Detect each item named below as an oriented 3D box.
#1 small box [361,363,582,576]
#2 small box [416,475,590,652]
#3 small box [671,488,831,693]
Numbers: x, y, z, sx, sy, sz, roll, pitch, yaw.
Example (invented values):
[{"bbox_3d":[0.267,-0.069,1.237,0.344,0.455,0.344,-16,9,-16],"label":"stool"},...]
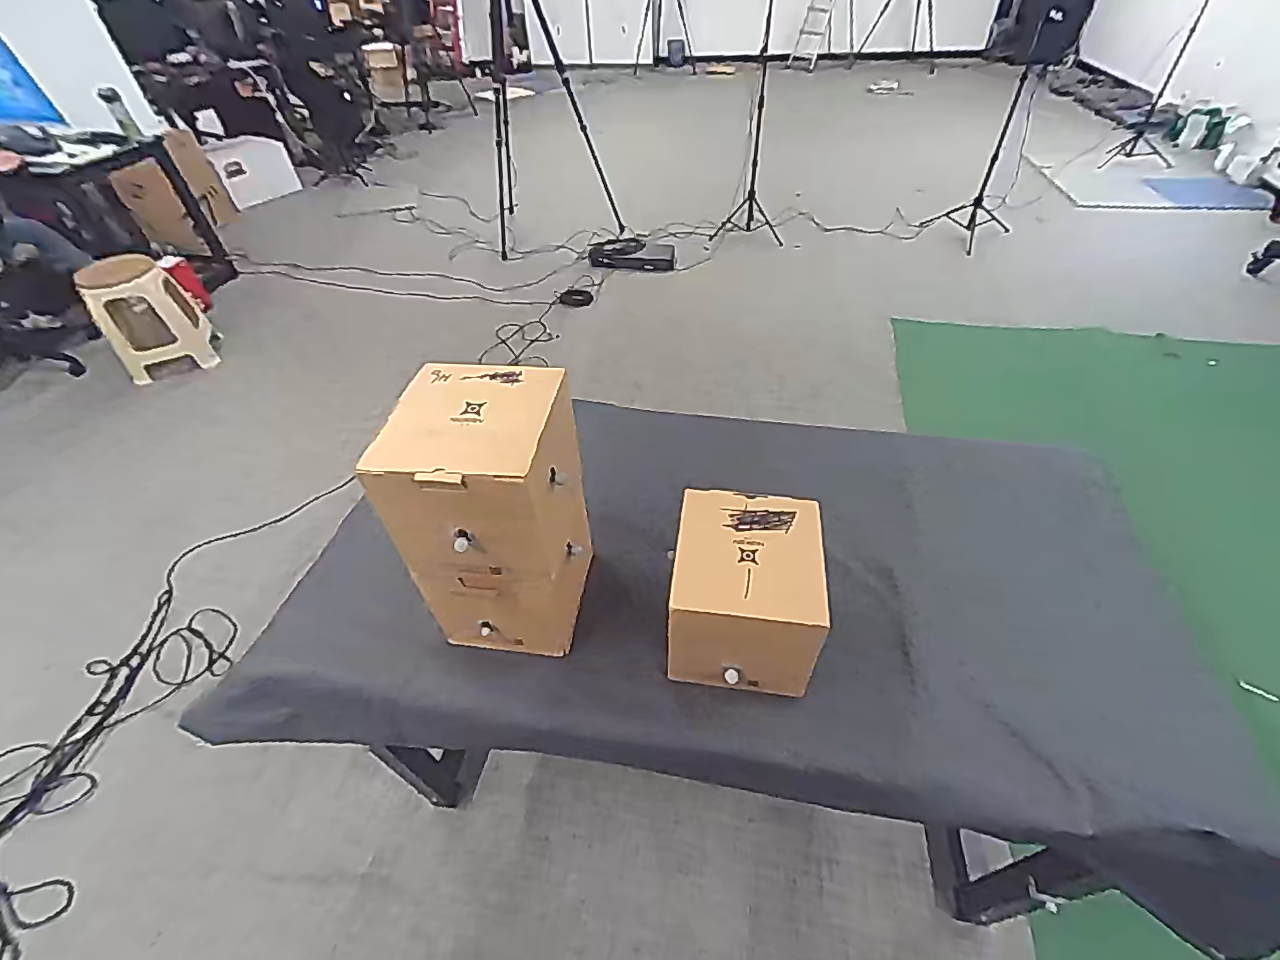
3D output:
[{"bbox_3d":[-0.165,-0.011,0.603,0.168,0.176,0.179,3,46,6],"label":"small box"},{"bbox_3d":[-0.164,0.102,0.721,0.168,0.176,0.179,4,46,7],"label":"small box"},{"bbox_3d":[0.129,0.135,0.669,0.168,0.176,0.179,5,45,8],"label":"small box"}]
